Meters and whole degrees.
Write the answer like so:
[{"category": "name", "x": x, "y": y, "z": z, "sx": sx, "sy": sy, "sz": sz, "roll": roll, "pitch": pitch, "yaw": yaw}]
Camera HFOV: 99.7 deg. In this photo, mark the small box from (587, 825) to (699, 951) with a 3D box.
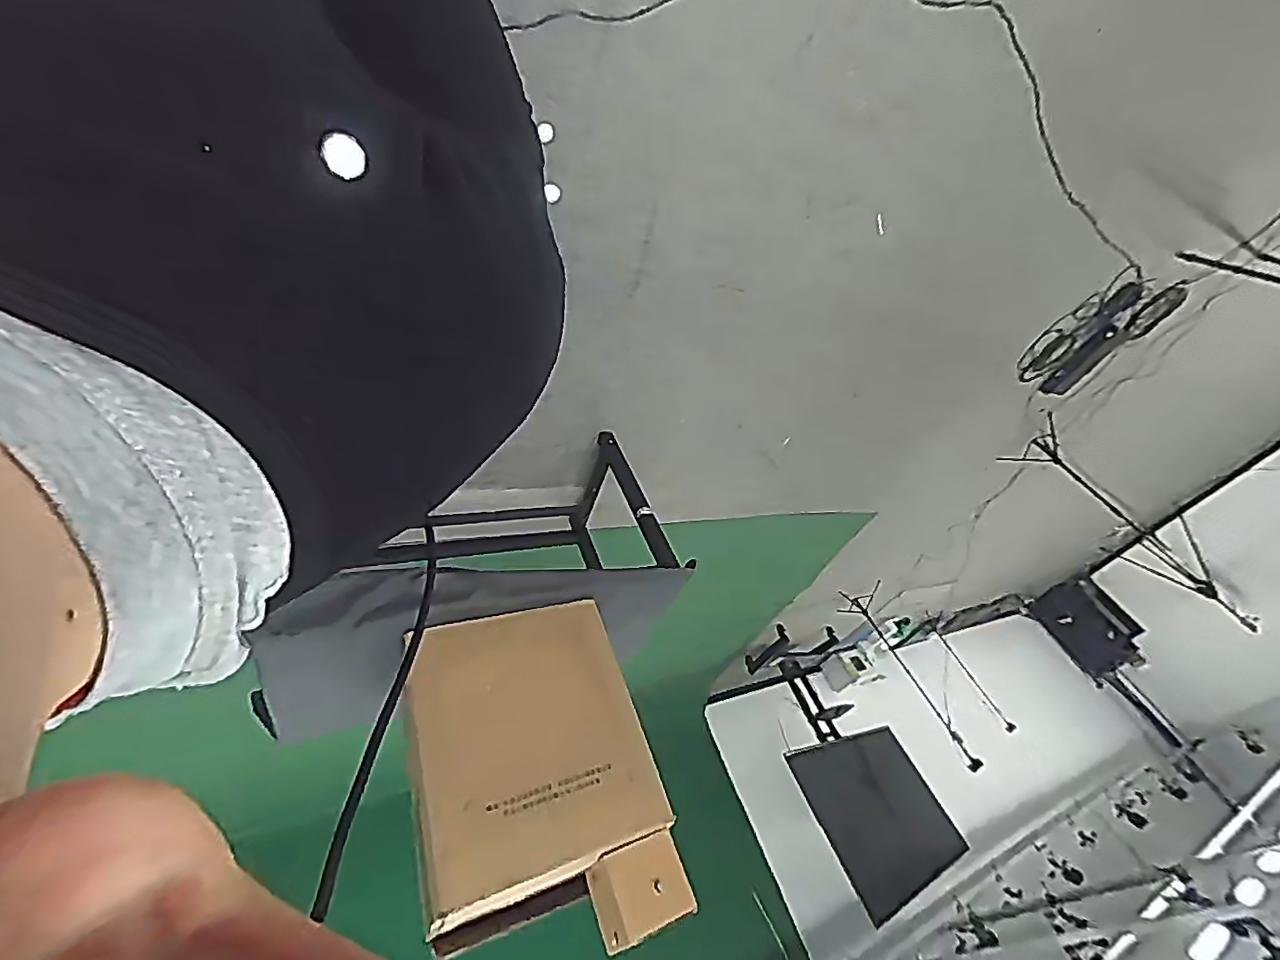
[{"category": "small box", "x": 0.000, "y": 0.938, "z": 1.253, "sx": 0.179, "sy": 0.176, "sz": 0.168, "roll": -6, "pitch": 138, "yaw": -30}]
